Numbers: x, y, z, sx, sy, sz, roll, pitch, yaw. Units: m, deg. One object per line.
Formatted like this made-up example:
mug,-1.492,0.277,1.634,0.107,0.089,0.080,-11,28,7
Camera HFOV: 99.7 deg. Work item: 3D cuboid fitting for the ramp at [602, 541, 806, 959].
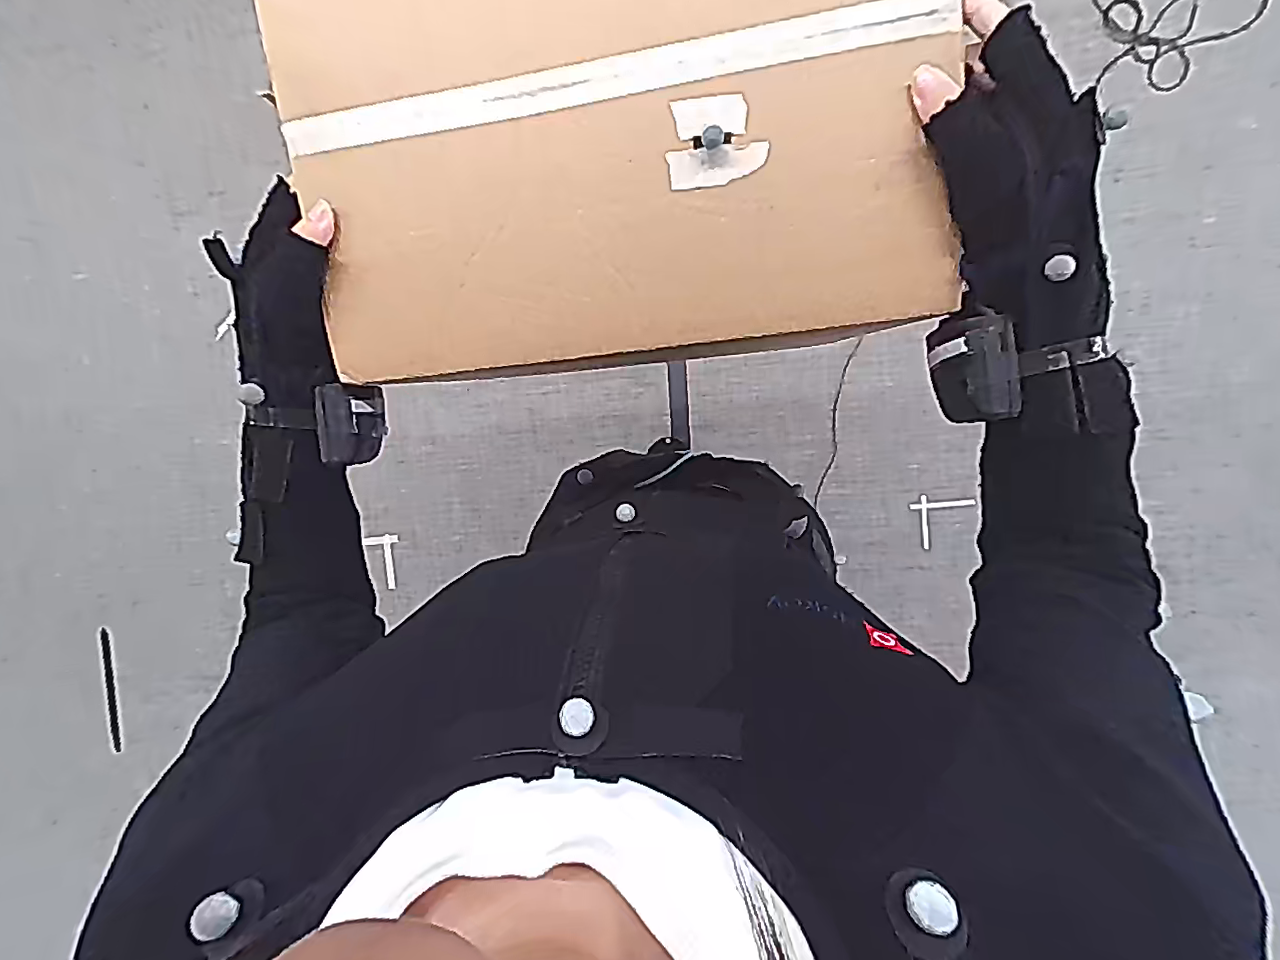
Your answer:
ramp,0.147,0.657,1.368,0.509,0.206,0.991,-3,91,9

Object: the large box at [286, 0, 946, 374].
large box,-0.008,-0.274,0.481,0.408,0.320,0.320,-5,101,7
